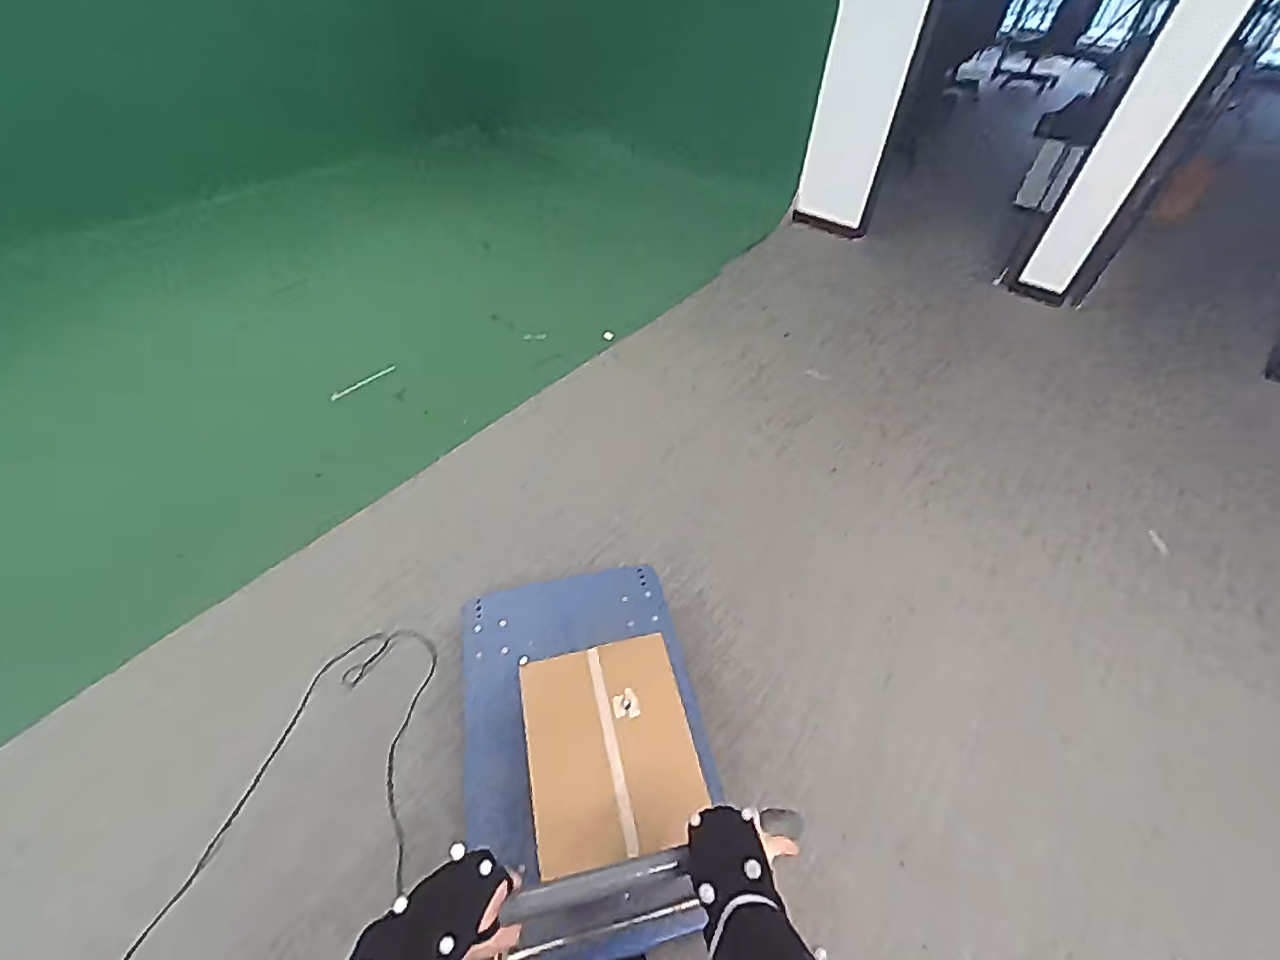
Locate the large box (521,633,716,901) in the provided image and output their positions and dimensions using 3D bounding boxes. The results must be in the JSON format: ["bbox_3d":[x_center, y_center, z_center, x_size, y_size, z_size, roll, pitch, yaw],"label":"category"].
[{"bbox_3d":[-0.058,0.613,1.172,0.320,0.320,0.408,-10,49,-10],"label":"large box"}]
